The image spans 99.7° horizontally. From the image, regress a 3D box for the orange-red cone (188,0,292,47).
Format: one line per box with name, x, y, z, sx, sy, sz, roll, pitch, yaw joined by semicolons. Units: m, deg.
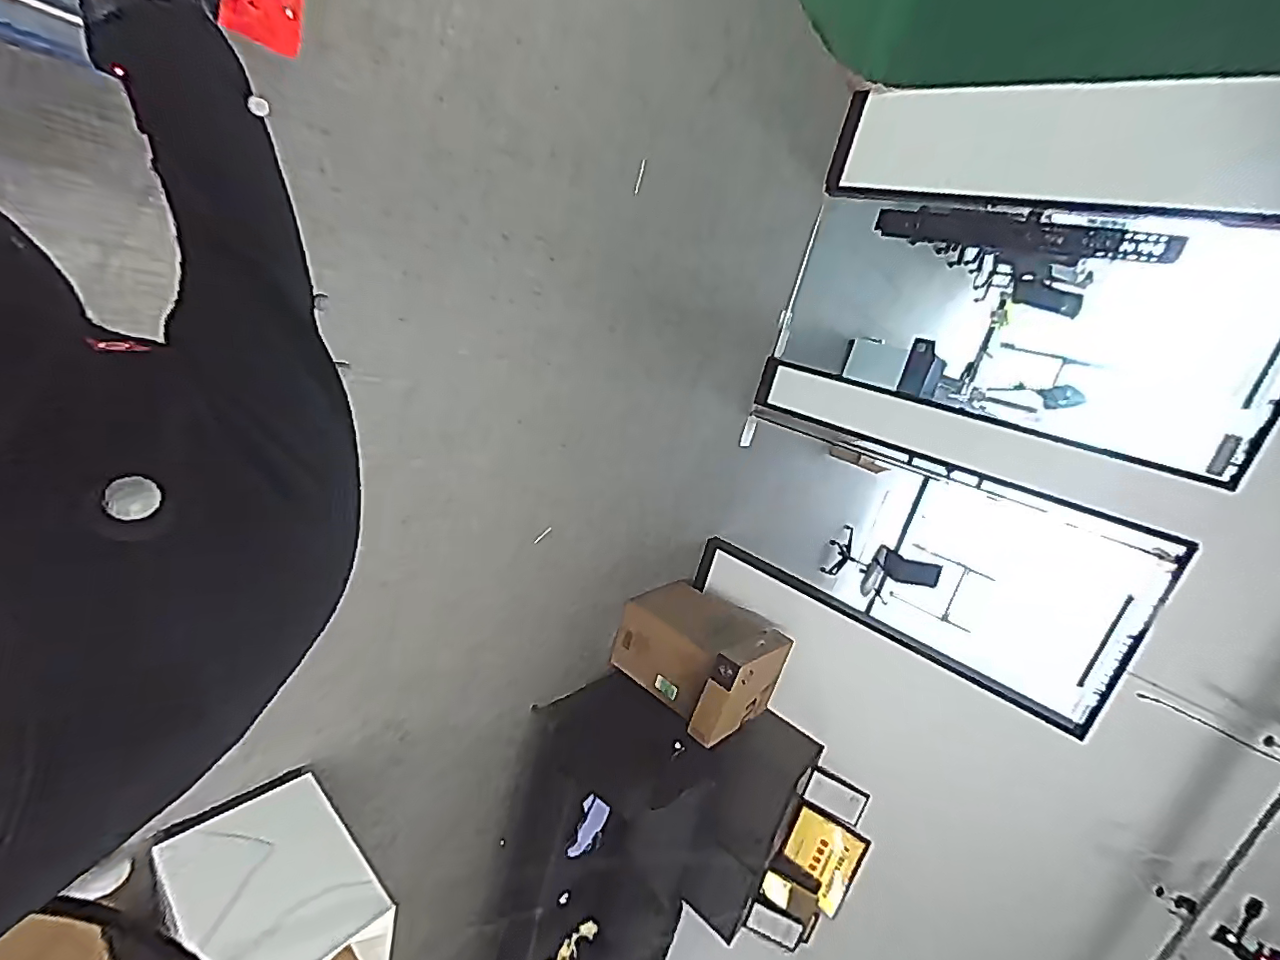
orange-red cone;-0.634;-0.903;0.916;0.199;0.360;0.198;-3;114;-51
